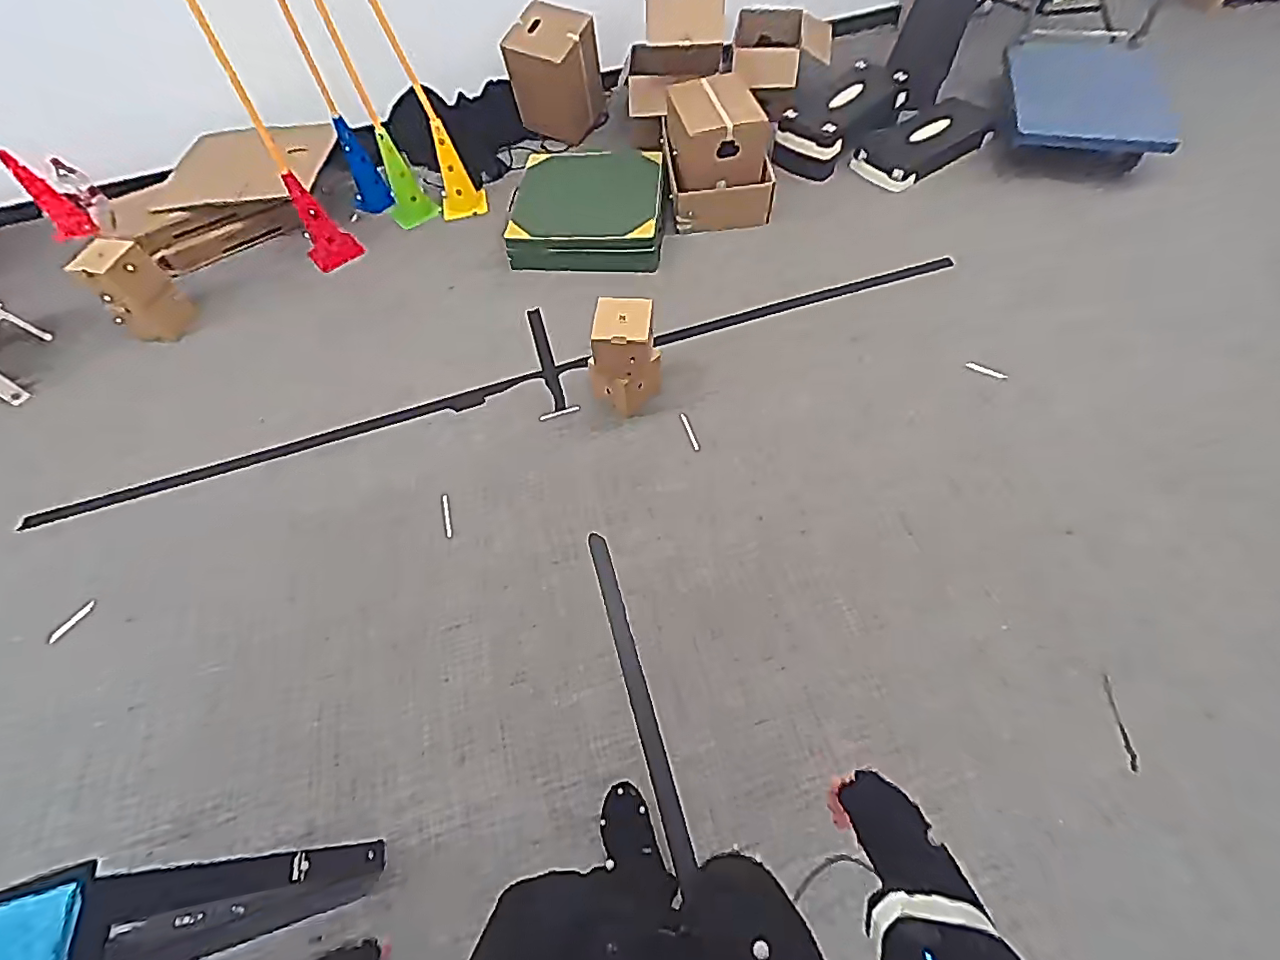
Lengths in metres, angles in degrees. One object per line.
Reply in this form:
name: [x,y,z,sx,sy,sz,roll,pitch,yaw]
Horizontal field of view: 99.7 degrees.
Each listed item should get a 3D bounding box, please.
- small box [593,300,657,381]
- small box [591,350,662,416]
small box: [-0.039,-0.420,1.644,0.168,0.176,0.179,4,59,5]
small box: [-0.036,-0.344,1.792,0.168,0.176,0.179,34,67,22]
